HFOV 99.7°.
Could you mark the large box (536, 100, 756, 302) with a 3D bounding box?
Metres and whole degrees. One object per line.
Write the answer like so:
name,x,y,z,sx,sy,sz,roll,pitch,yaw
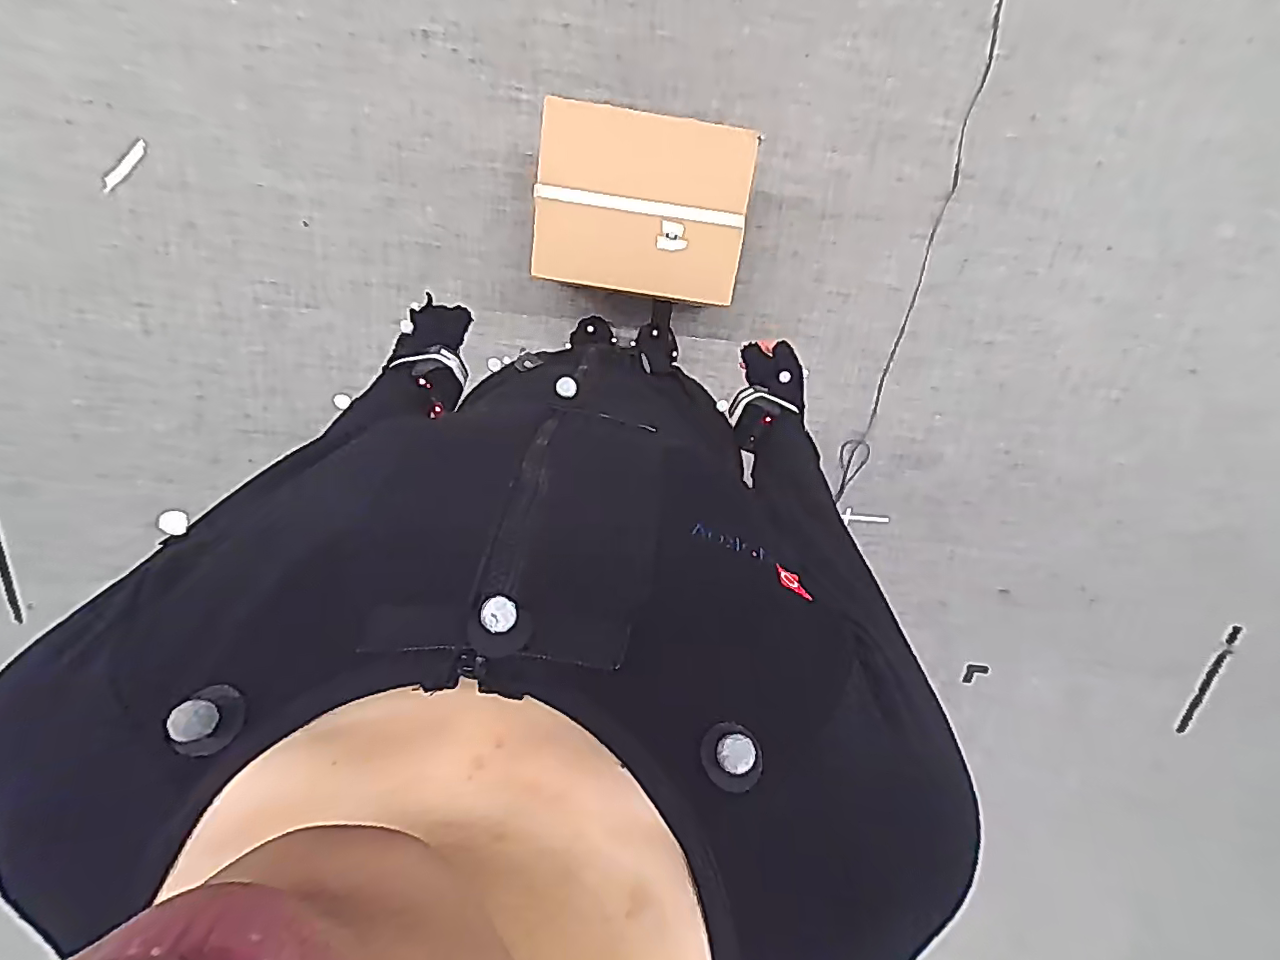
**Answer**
large box,0.001,-0.576,1.186,0.408,0.320,0.320,7,108,-3
